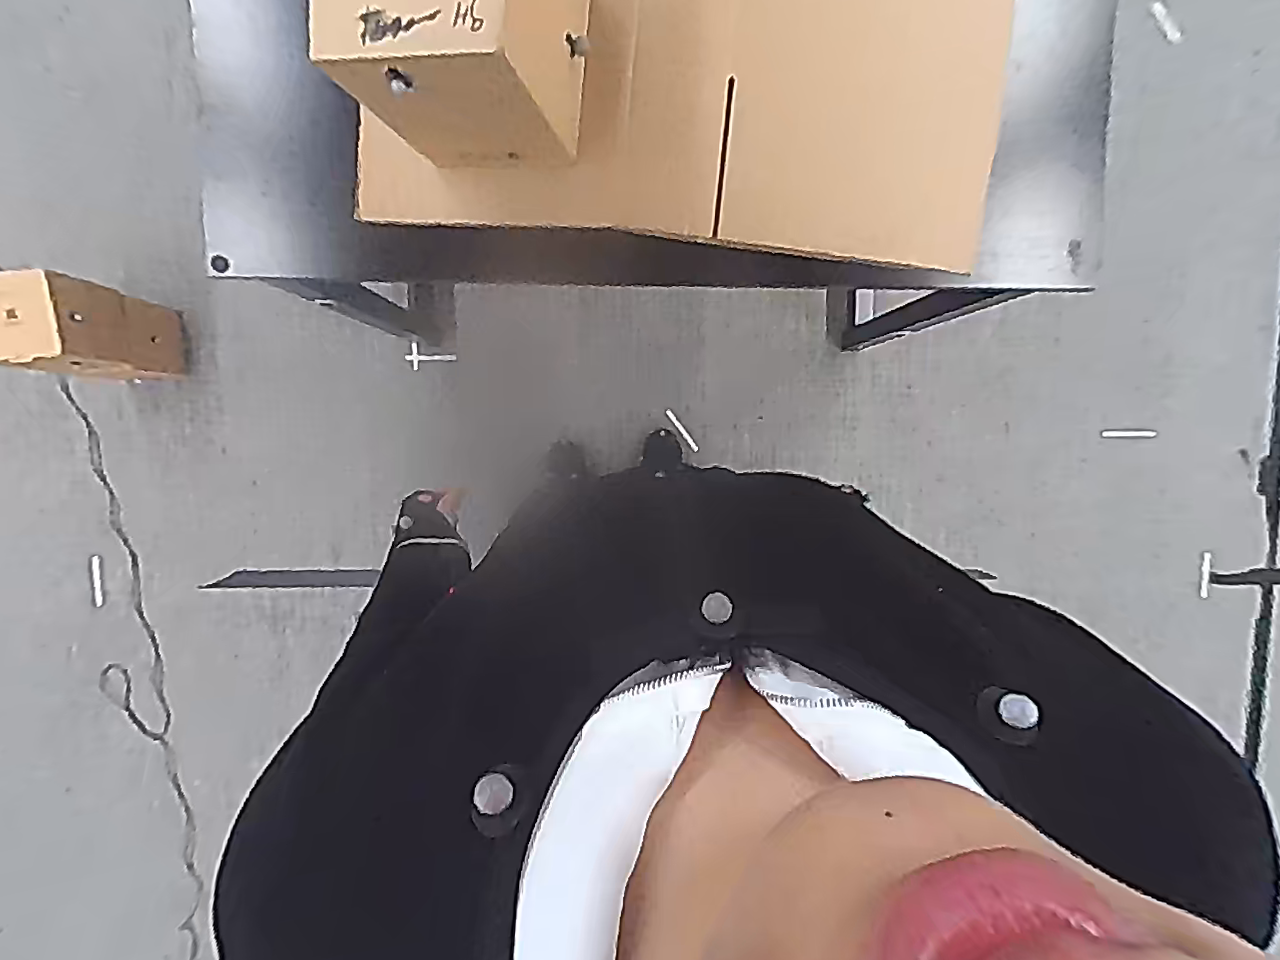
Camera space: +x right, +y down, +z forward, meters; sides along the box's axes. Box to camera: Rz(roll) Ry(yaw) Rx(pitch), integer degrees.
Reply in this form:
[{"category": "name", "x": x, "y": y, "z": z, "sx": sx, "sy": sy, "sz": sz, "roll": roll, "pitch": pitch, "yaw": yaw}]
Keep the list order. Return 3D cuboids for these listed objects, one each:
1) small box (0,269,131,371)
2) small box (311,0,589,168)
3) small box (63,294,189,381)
[{"category": "small box", "x": -1.255, "y": -0.333, "z": 1.161, "sx": 0.168, "sy": 0.176, "sz": 0.179, "roll": -7, "pitch": 95, "yaw": -2}, {"category": "small box", "x": -0.150, "y": -0.408, "z": 0.475, "sx": 0.168, "sy": 0.176, "sz": 0.179, "roll": 7, "pitch": 95, "yaw": 12}, {"category": "small box", "x": -1.260, "y": -0.343, "z": 1.323, "sx": 0.168, "sy": 0.176, "sz": 0.179, "roll": -4, "pitch": 96, "yaw": -2}]
